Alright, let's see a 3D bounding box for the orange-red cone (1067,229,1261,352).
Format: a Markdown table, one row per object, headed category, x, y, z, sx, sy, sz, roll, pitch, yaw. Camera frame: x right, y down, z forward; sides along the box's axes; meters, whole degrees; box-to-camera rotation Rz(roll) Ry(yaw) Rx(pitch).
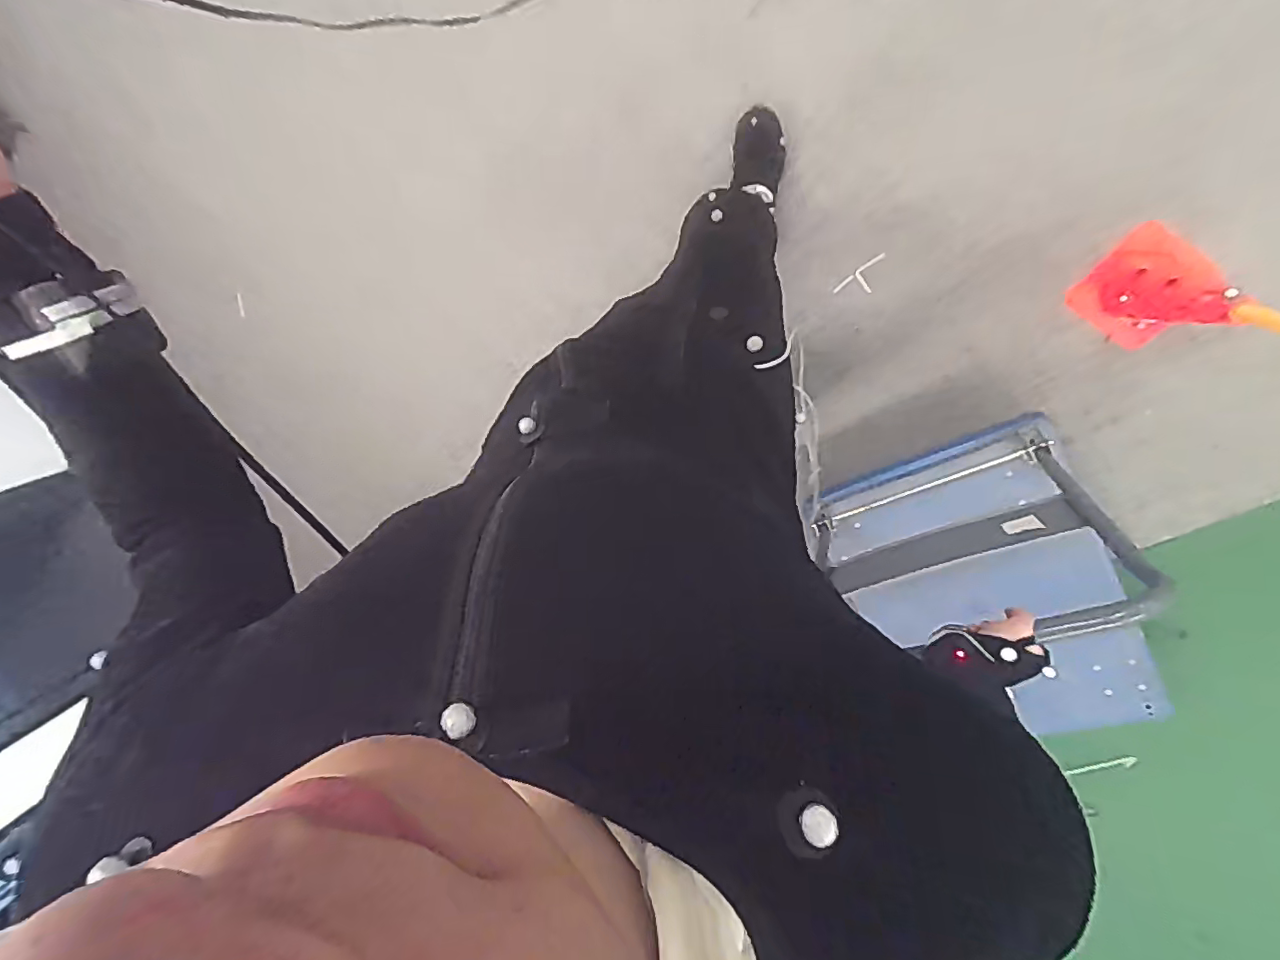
| category | x | y | z | sx | sy | sz | roll | pitch | yaw |
| --- | --- | --- | --- | --- | --- | --- | --- | --- | --- |
| orange-red cone | 1.011 | -0.330 | 1.005 | 0.198 | 0.360 | 0.199 | 38 | 120 | -1 |
